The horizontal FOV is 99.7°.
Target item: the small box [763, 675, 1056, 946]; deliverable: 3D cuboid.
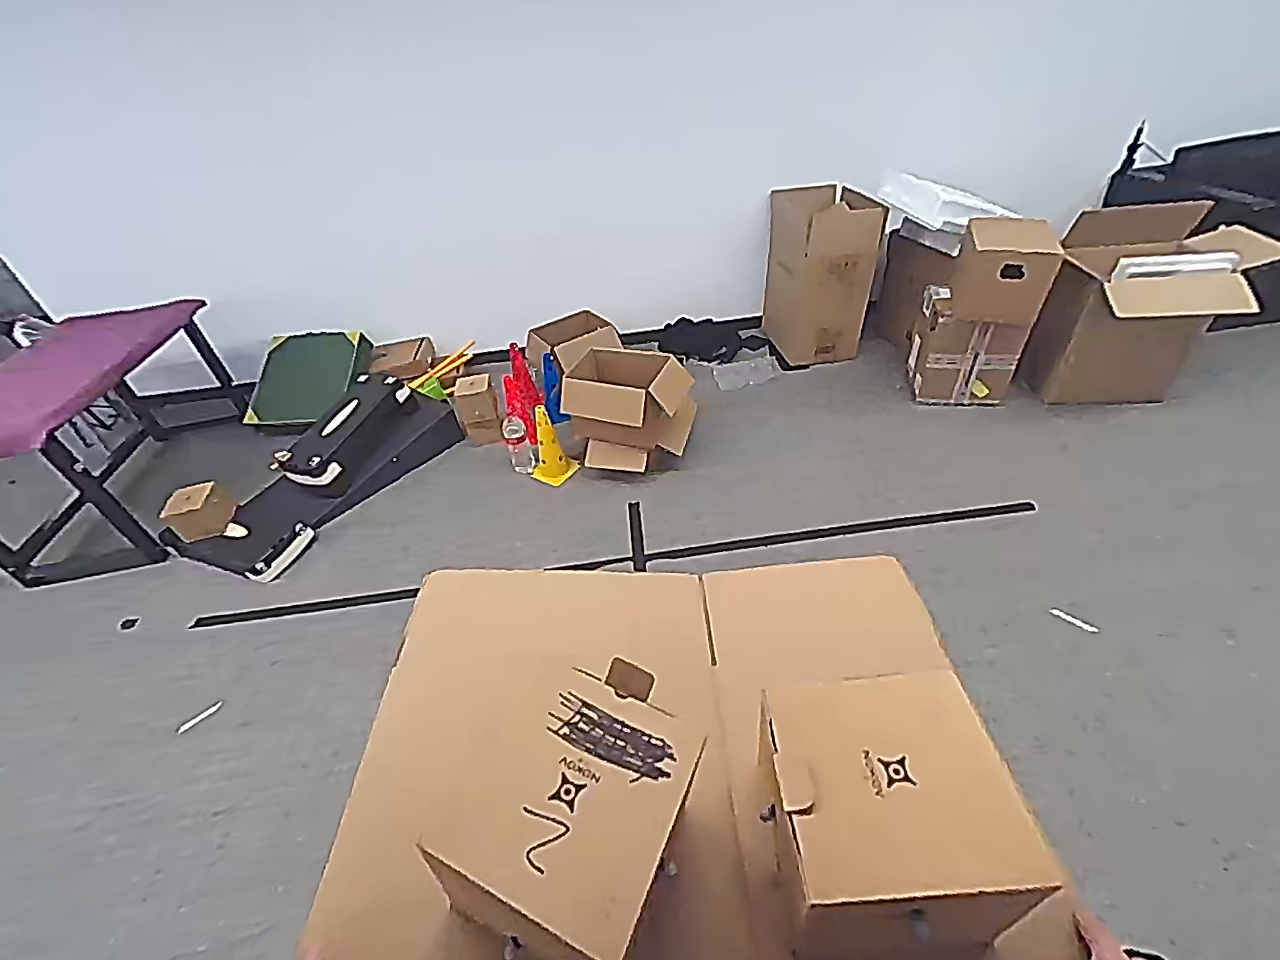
[{"bbox_3d":[0.217,0.303,0.497,0.179,0.176,0.168,-7,39,3],"label":"small box"}]
